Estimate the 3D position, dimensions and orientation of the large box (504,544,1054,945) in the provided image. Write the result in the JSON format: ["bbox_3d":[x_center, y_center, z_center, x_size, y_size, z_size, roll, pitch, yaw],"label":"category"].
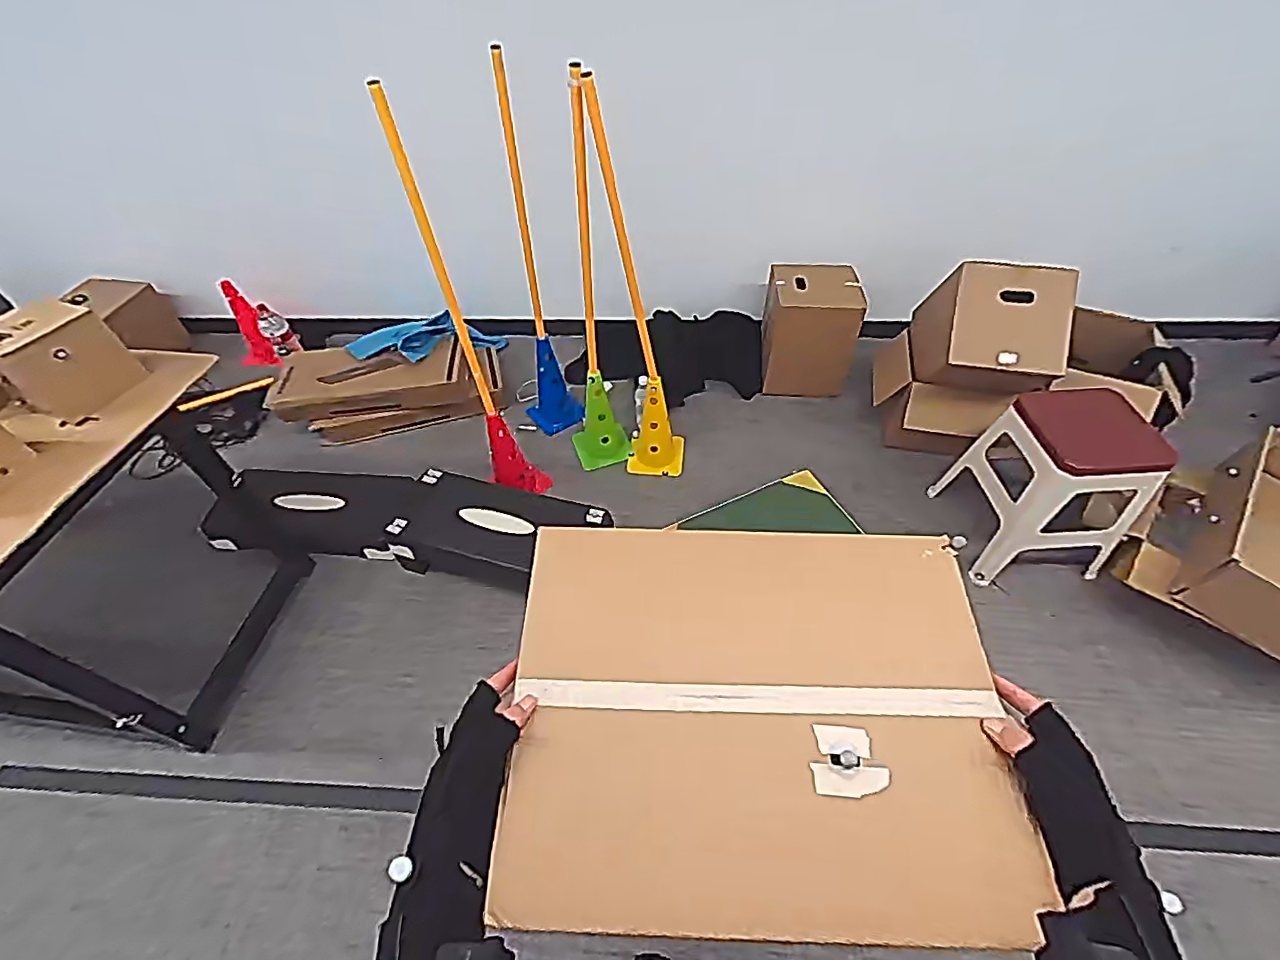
[{"bbox_3d":[0.099,0.276,0.589,0.408,0.320,0.320,1,58,1],"label":"large box"}]
